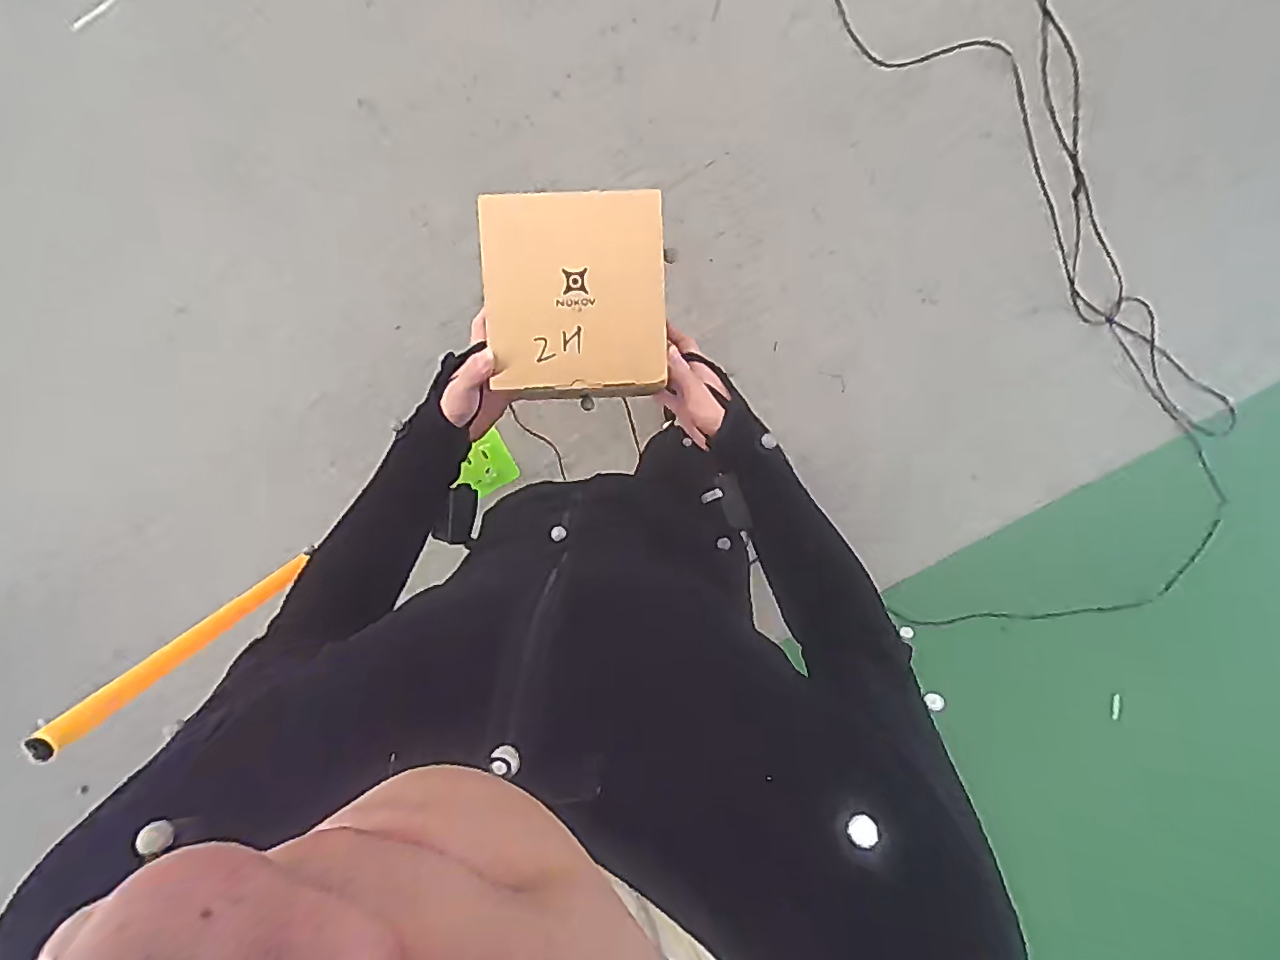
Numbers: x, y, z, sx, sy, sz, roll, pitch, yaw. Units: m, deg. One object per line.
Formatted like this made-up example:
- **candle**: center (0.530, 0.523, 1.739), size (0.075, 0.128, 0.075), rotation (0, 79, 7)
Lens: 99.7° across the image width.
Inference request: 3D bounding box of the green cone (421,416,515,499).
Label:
- **green cone**: center (-0.498, -0.041, 1.443), size (0.202, 0.368, 0.200), rotation (-28, 97, 4)

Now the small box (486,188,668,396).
- **small box**: center (-0.060, -0.185, 0.577), size (0.168, 0.176, 0.179), rotation (-2, 96, -1)
